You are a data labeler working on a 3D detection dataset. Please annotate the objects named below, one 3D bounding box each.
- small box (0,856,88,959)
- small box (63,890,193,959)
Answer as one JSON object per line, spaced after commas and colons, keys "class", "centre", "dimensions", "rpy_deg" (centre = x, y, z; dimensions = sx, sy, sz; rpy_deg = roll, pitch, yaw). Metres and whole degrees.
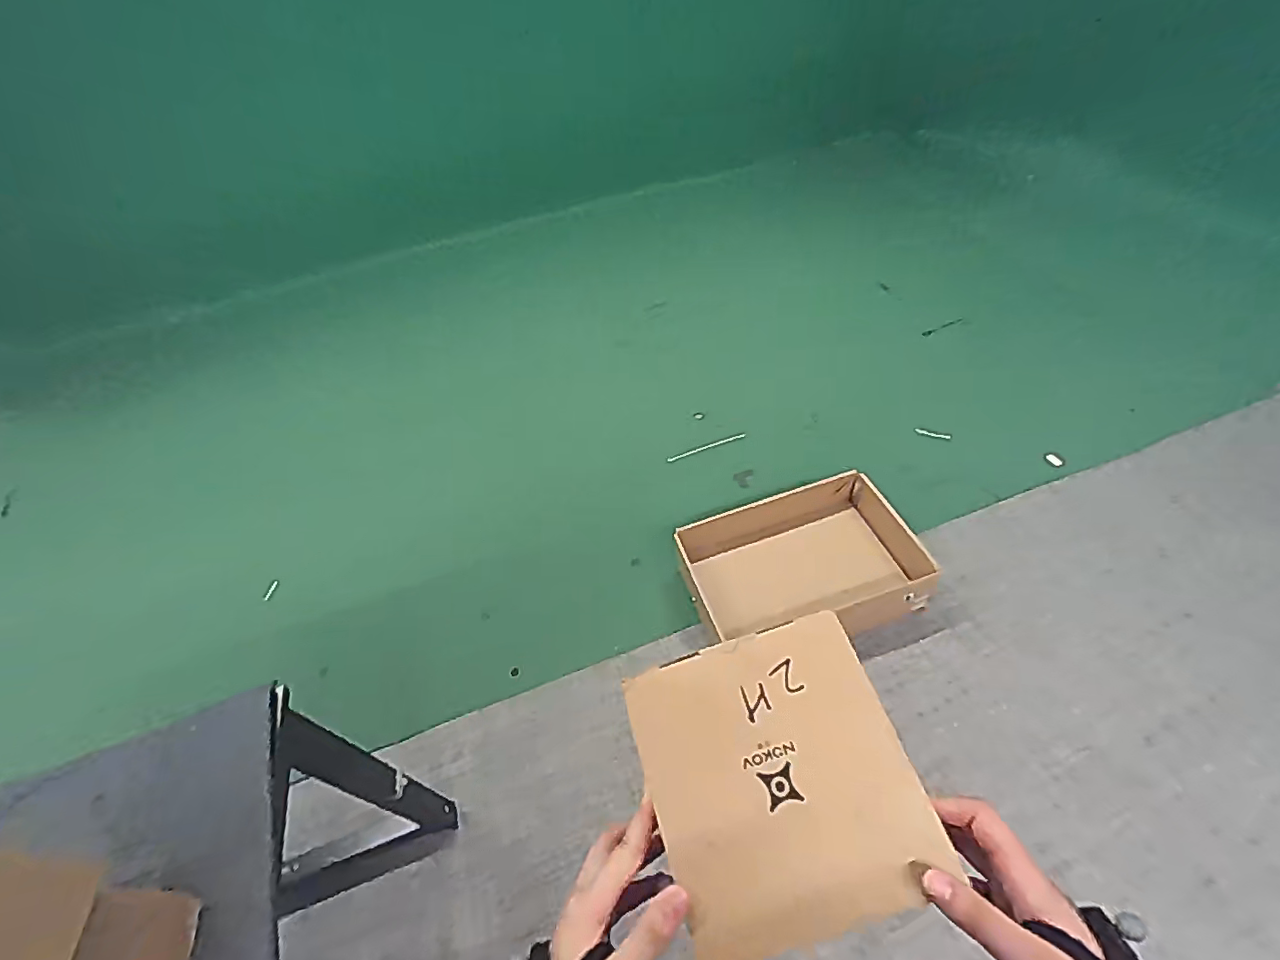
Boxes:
{"class": "small box", "centre": [-0.587, 0.396, 0.399], "dimensions": [0.168, 0.176, 0.179], "rpy_deg": [-14, 49, -3]}
{"class": "small box", "centre": [-0.579, 0.518, 0.511], "dimensions": [0.168, 0.176, 0.179], "rpy_deg": [-16, 47, -6]}
